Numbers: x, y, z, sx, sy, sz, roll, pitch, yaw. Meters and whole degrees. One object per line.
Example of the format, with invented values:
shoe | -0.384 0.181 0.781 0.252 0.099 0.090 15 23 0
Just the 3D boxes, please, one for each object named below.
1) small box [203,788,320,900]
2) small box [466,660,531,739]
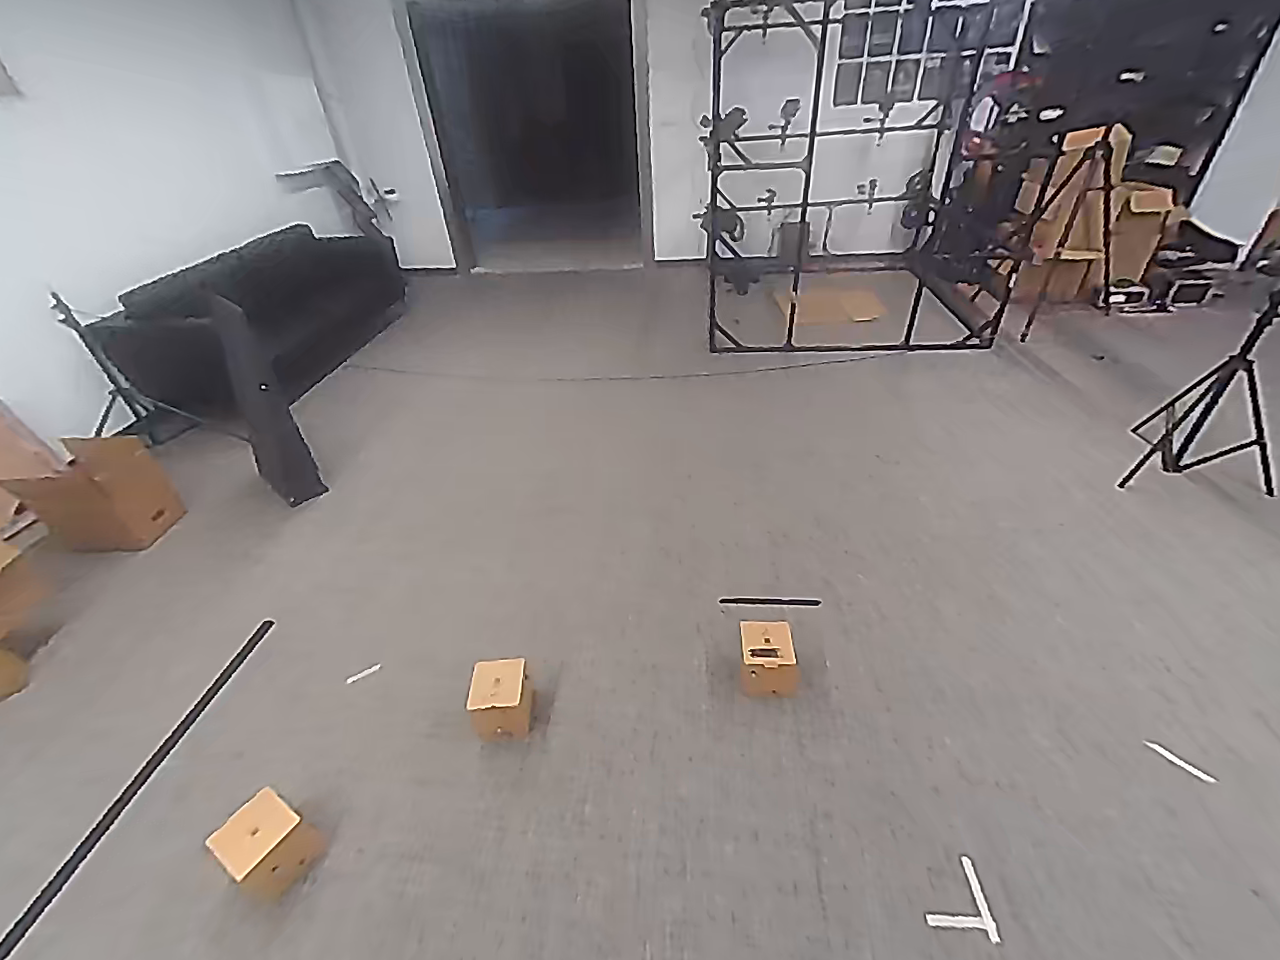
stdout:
small box | -1.002 0.978 1.447 0.179 0.176 0.168 18 41 27
small box | -0.453 0.716 1.763 0.168 0.176 0.179 -4 36 -2
